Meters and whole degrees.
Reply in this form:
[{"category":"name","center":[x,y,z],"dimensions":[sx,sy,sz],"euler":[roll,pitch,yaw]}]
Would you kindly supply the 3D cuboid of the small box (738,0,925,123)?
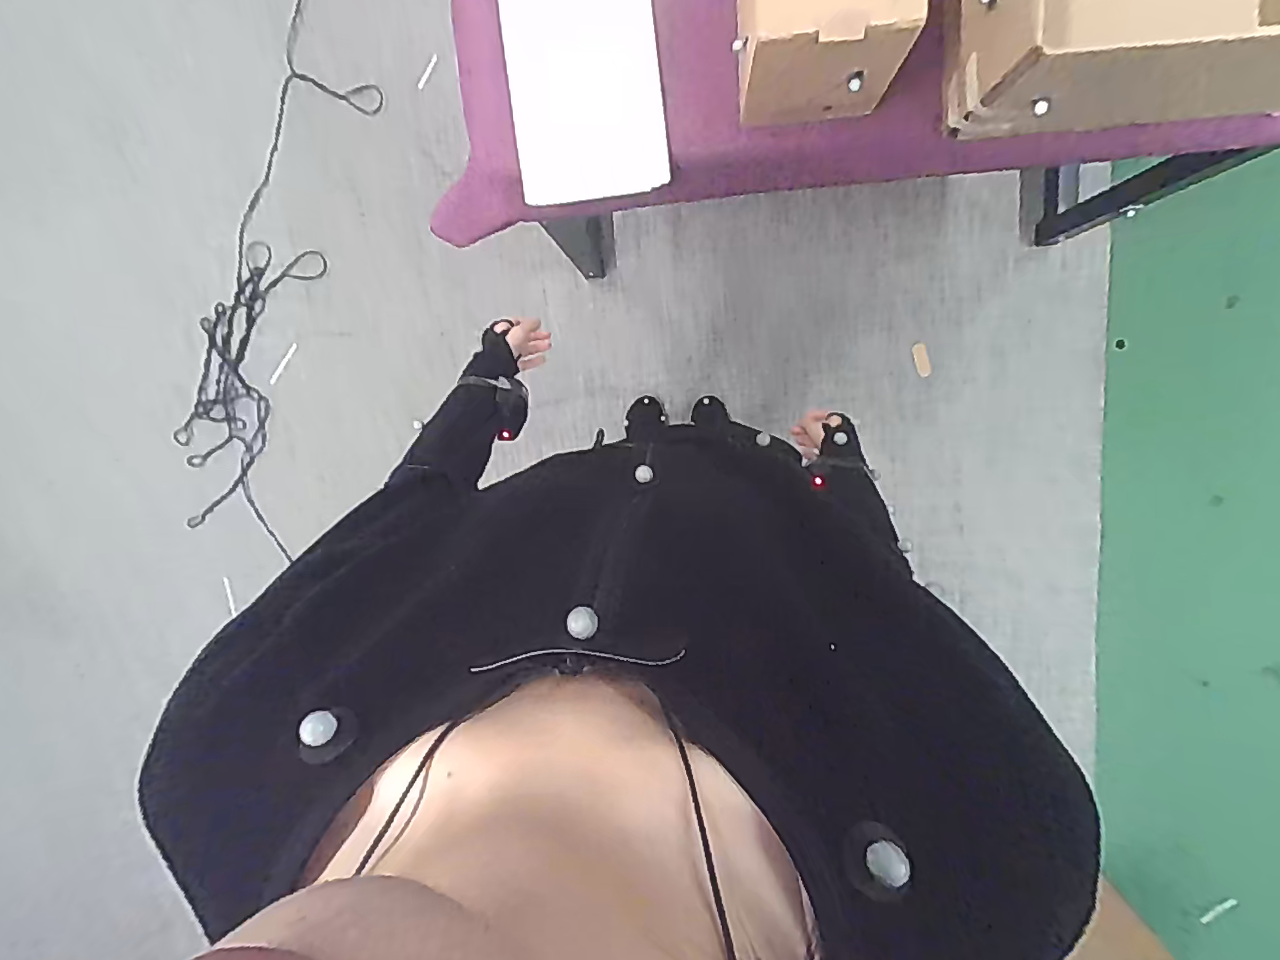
[{"category":"small box","center":[0.201,-0.529,0.603],"dimensions":[0.168,0.176,0.179],"euler":[-2,96,5]}]
